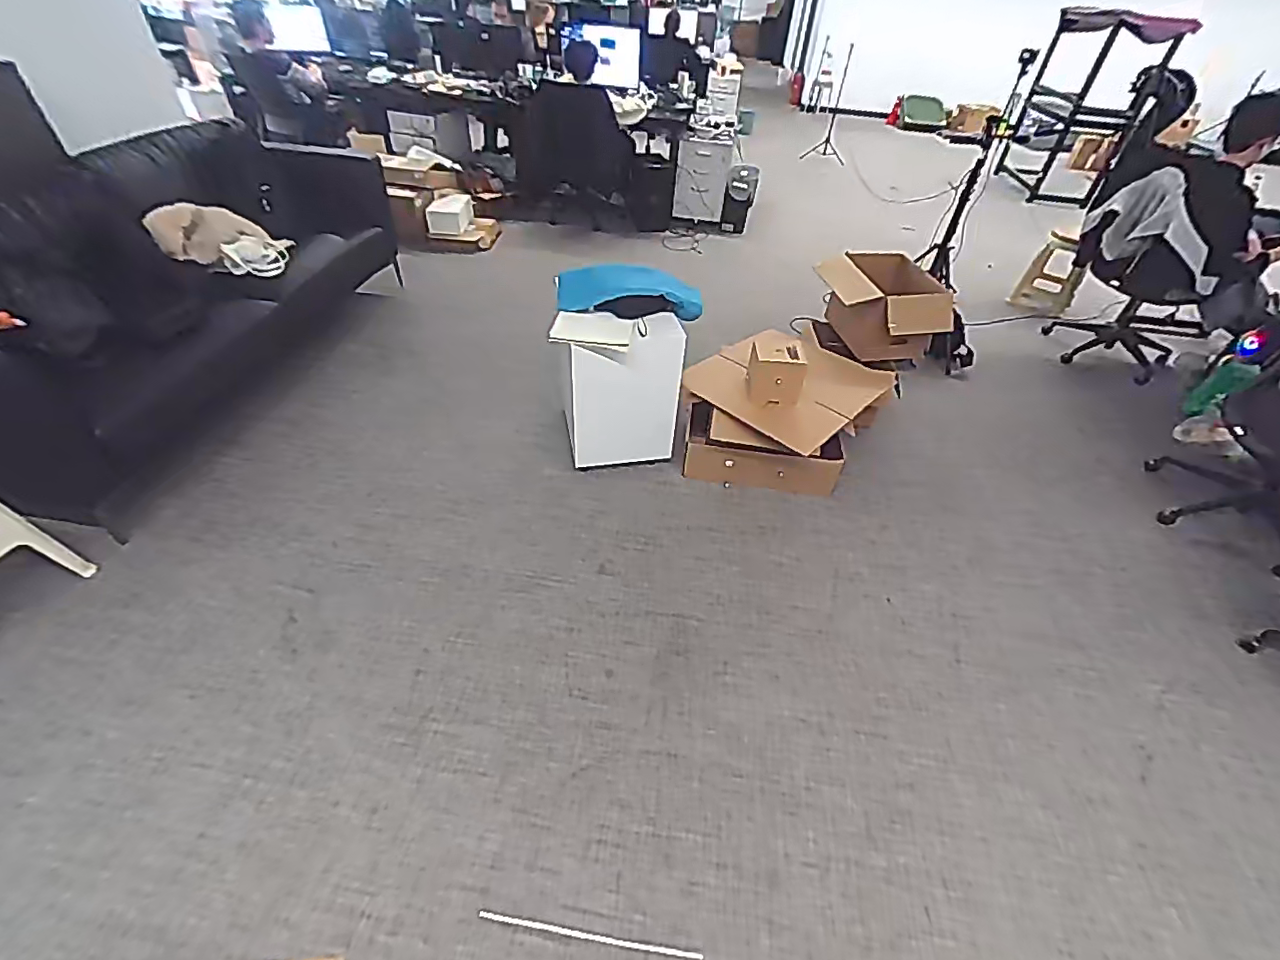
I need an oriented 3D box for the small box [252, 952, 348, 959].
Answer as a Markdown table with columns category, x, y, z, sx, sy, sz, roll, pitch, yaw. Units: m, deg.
| category | x | y | z | sx | sy | sz | roll | pitch | yaw |
| --- | --- | --- | --- | --- | --- | --- | --- | --- | --- |
| small box | -0.447 | 0.671 | 0.589 | 0.168 | 0.179 | 0.176 | -2 | 79 | -4 |
